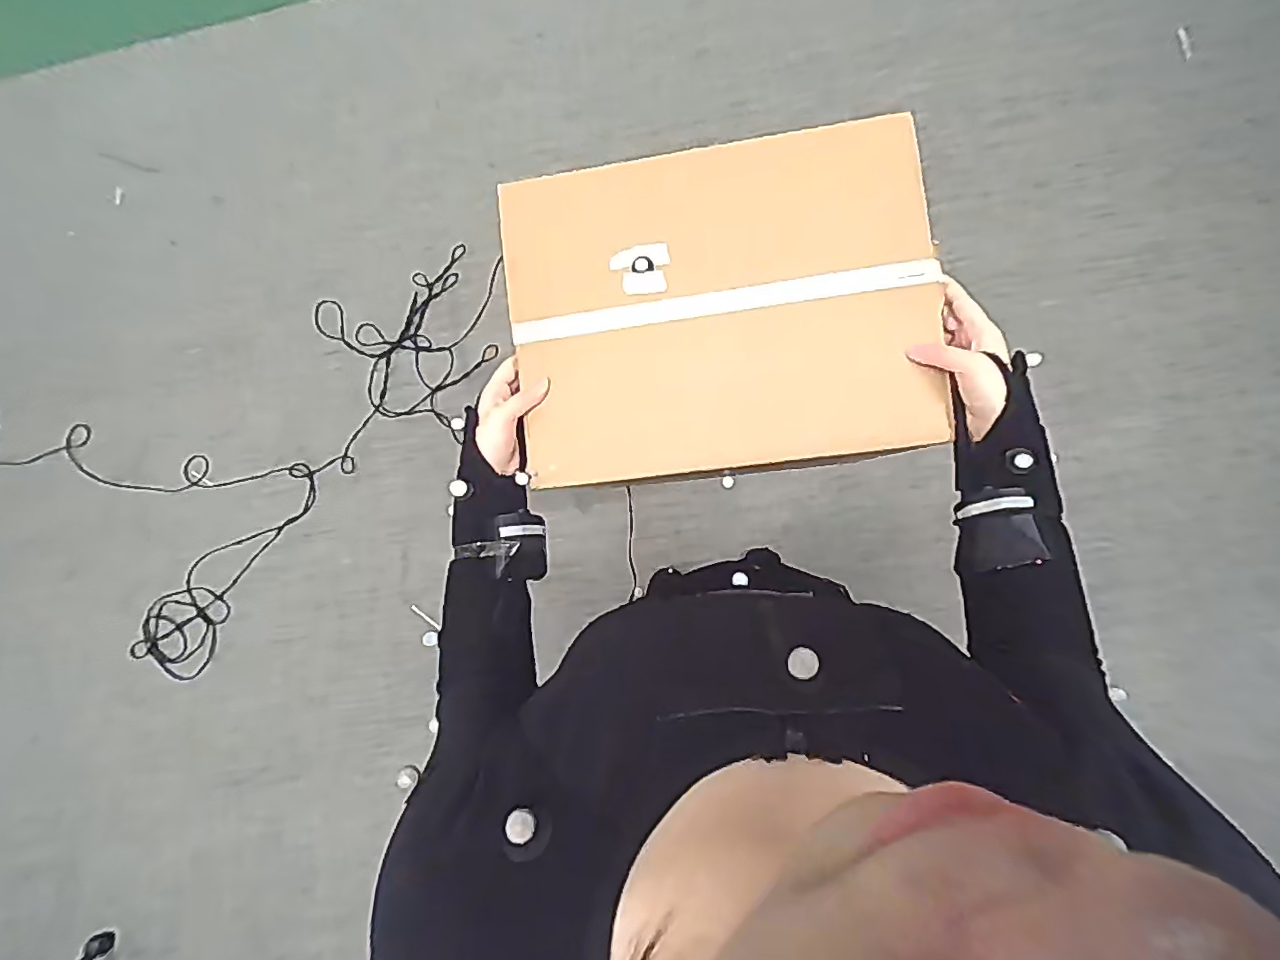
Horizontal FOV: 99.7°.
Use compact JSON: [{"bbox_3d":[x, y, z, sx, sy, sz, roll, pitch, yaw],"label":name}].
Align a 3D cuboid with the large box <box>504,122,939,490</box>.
[{"bbox_3d":[0.091,-0.166,0.683,0.408,0.320,0.320,-7,88,8],"label":"large box"}]
